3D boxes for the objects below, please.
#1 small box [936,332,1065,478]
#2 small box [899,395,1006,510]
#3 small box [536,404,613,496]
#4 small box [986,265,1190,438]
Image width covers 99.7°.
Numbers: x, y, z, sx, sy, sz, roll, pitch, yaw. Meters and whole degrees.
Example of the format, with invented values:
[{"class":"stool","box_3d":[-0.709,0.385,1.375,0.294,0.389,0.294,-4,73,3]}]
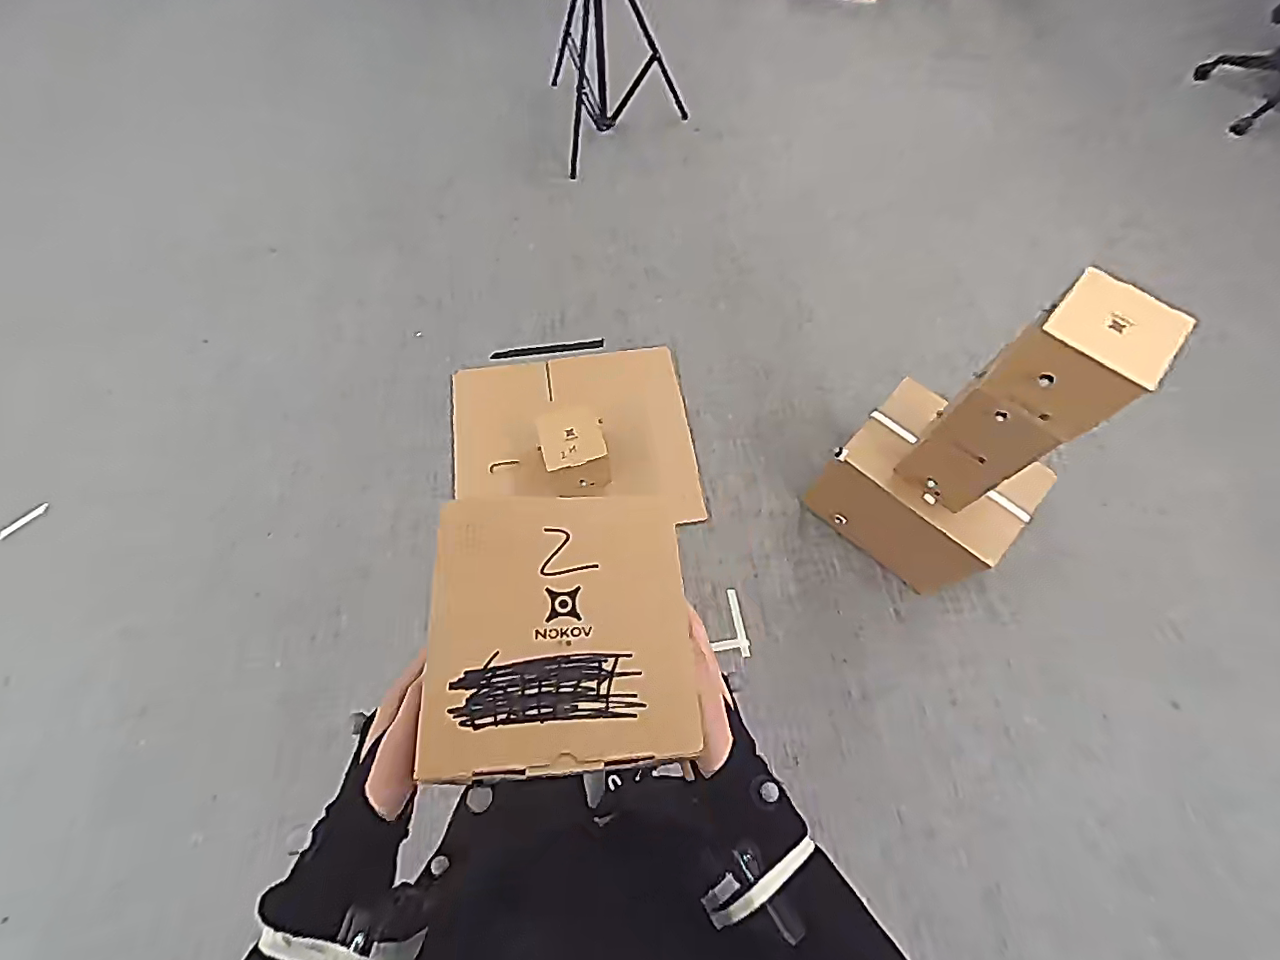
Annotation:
[{"class":"small box","box_3d":[0.705,-0.137,1.028,0.168,0.176,0.179,39,70,16]},{"class":"small box","box_3d":[0.701,-0.067,1.176,0.168,0.176,0.179,39,72,16]},{"class":"small box","box_3d":[-0.179,-0.080,1.500,0.168,0.176,0.179,-16,67,-5]},{"class":"small box","box_3d":[0.708,-0.201,0.878,0.168,0.176,0.179,39,71,16]}]
